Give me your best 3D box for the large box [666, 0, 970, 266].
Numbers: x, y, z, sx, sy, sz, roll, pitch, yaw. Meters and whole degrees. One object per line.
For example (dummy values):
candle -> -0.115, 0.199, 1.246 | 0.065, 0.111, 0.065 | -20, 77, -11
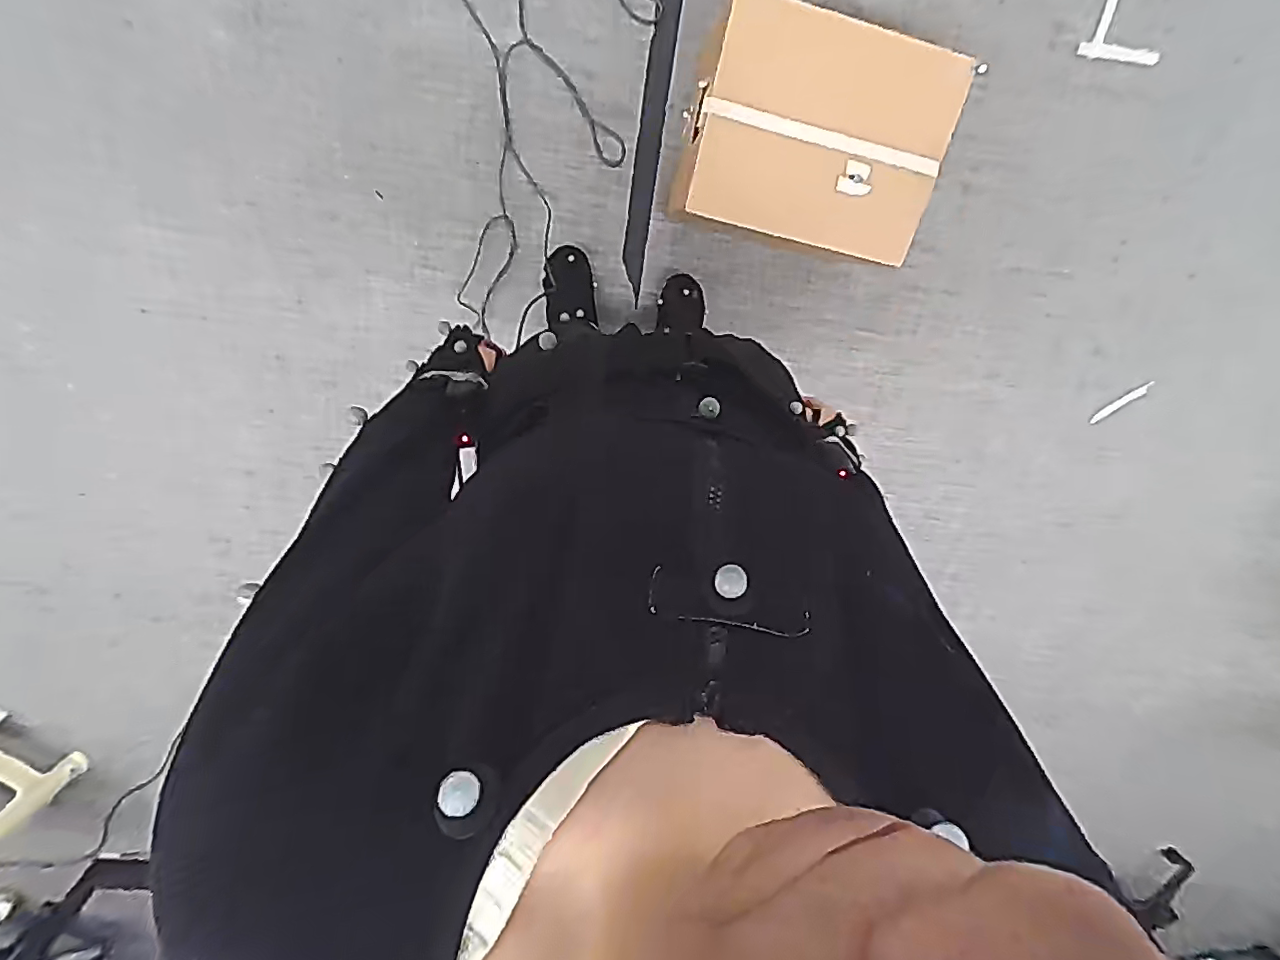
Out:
large box -> 0.286, -0.608, 1.014 | 0.408, 0.320, 0.320 | 10, 113, -9
